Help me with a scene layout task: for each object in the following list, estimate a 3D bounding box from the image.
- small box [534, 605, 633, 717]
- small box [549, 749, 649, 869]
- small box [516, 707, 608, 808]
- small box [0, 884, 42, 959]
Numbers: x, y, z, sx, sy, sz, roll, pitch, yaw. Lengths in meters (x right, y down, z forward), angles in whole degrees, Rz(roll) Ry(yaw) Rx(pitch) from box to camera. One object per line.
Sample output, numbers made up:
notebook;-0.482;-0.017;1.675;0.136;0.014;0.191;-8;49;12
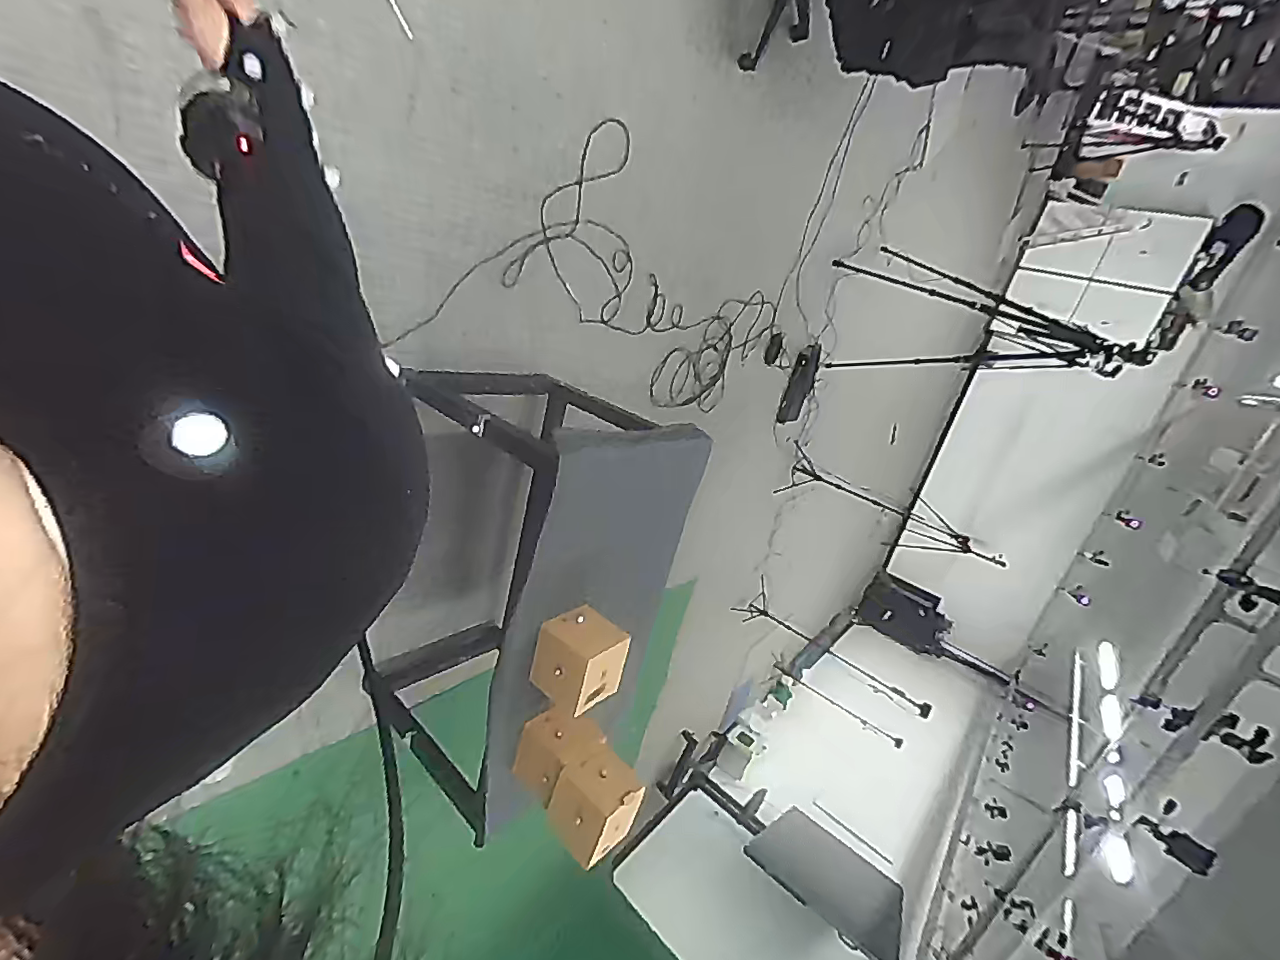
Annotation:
small box;-0.147;0.448;1.364;0.168;0.176;0.179;-11;120;-52
small box;-0.110;0.831;1.394;0.168;0.176;0.179;-1;114;-54
small box;-0.219;0.754;1.491;0.168;0.176;0.179;-5;118;-52
small box;-1.496;1.079;1.223;0.179;0.176;0.168;-8;118;-50
